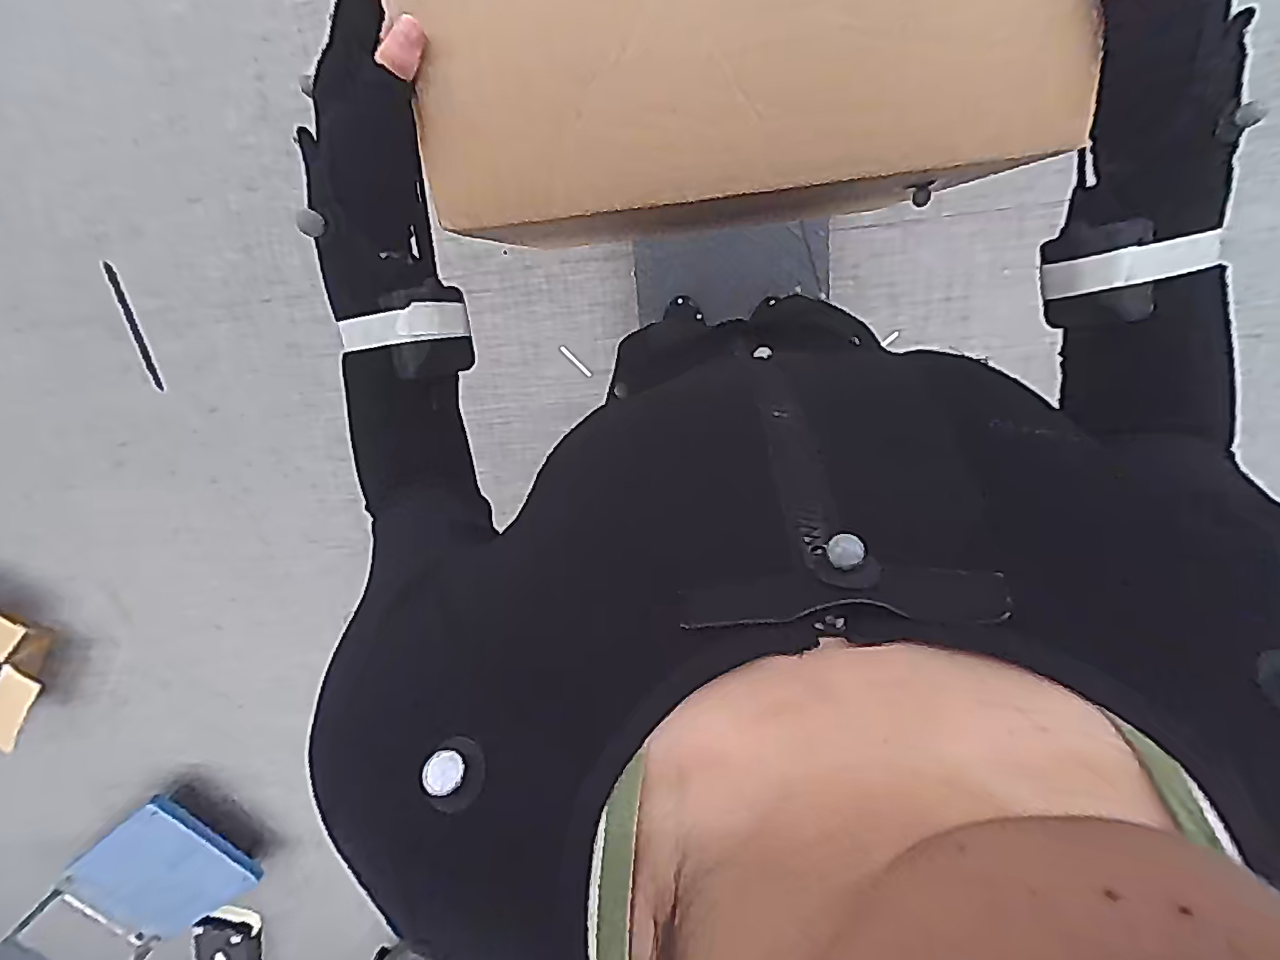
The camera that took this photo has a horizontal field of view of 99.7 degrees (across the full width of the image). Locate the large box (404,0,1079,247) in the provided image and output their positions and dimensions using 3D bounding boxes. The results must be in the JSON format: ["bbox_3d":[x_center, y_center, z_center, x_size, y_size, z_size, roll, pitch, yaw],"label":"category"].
[{"bbox_3d":[0.058,-0.384,0.441,0.408,0.320,0.320,-6,110,4],"label":"large box"}]
